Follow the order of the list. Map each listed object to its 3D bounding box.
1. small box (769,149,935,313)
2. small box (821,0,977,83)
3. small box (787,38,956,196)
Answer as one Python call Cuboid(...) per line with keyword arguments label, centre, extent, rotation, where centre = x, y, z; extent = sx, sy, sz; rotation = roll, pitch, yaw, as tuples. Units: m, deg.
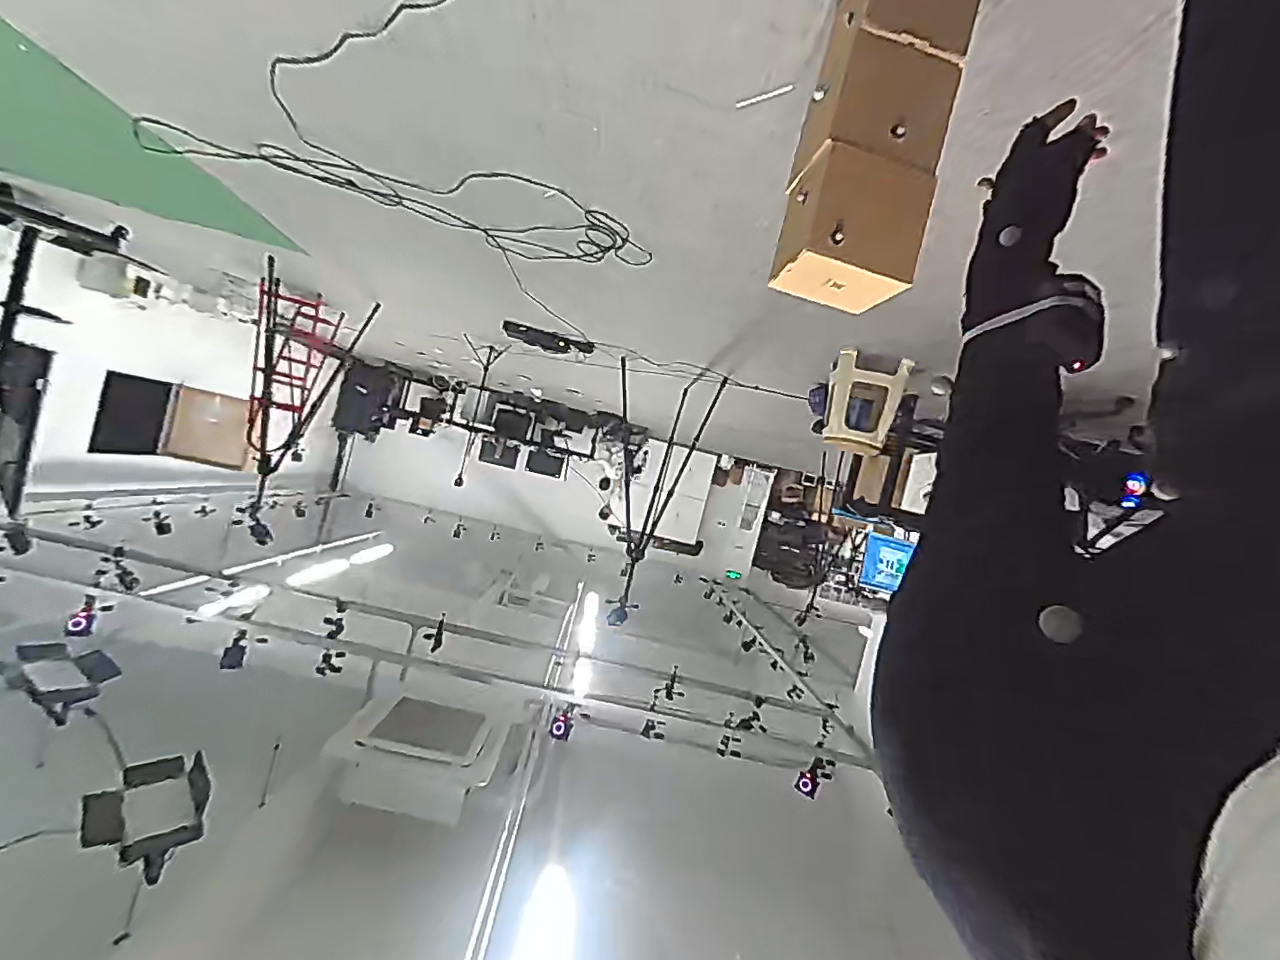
Cuboid(label="small box", centre=(0.336, -0.394, 0.872), extent=(0.179, 0.176, 0.168), rotation=(15, -179, -7))
Cuboid(label="small box", centre=(0.408, -0.713, 0.863), extent=(0.168, 0.176, 0.179), rotation=(14, 180, -6))
Cuboid(label="small box", centre=(0.367, -0.553, 0.871), extent=(0.179, 0.176, 0.168), rotation=(15, 180, -7))
